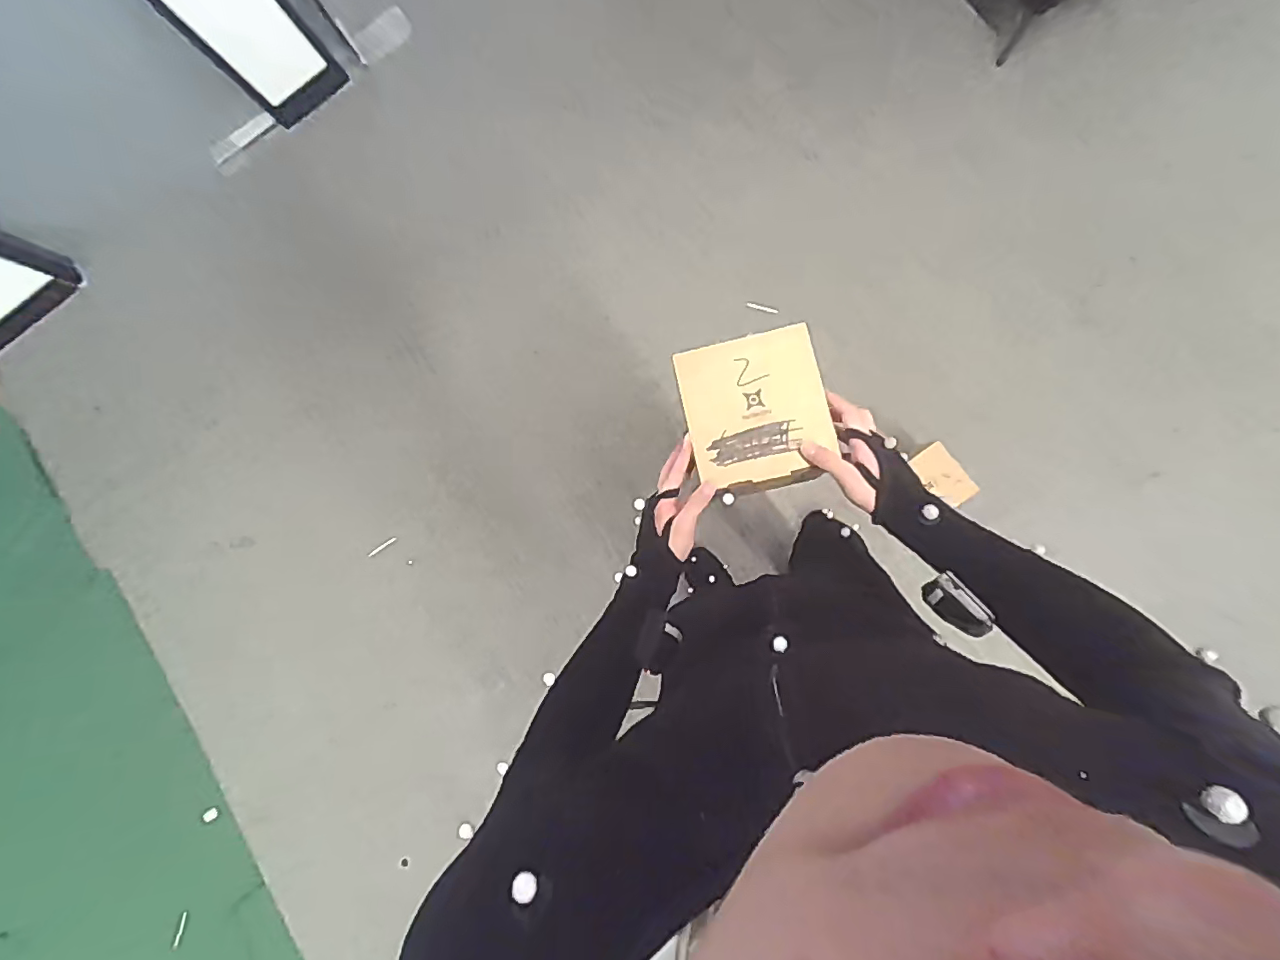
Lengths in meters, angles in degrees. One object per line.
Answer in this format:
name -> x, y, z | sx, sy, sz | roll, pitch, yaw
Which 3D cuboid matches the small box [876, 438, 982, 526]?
small box -> 0.770, 0.011, 1.470 | 0.179, 0.176, 0.168 | -37, 84, 3
